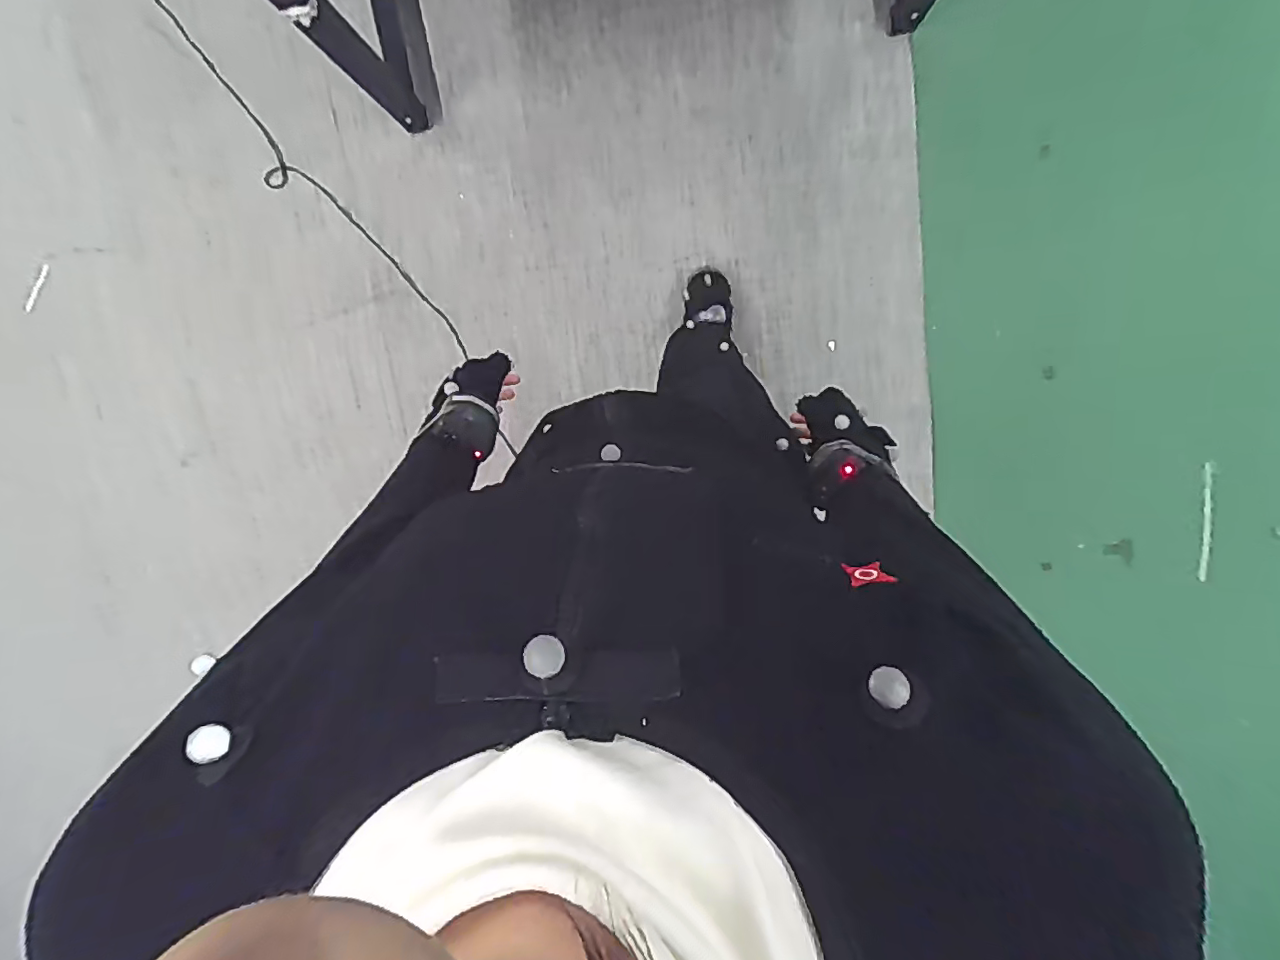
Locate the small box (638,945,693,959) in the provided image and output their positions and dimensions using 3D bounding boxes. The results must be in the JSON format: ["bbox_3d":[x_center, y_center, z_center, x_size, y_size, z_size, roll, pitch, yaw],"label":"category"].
[{"bbox_3d":[0.079,1.579,1.662,0.179,0.176,0.168,-2,103,4],"label":"small box"}]
